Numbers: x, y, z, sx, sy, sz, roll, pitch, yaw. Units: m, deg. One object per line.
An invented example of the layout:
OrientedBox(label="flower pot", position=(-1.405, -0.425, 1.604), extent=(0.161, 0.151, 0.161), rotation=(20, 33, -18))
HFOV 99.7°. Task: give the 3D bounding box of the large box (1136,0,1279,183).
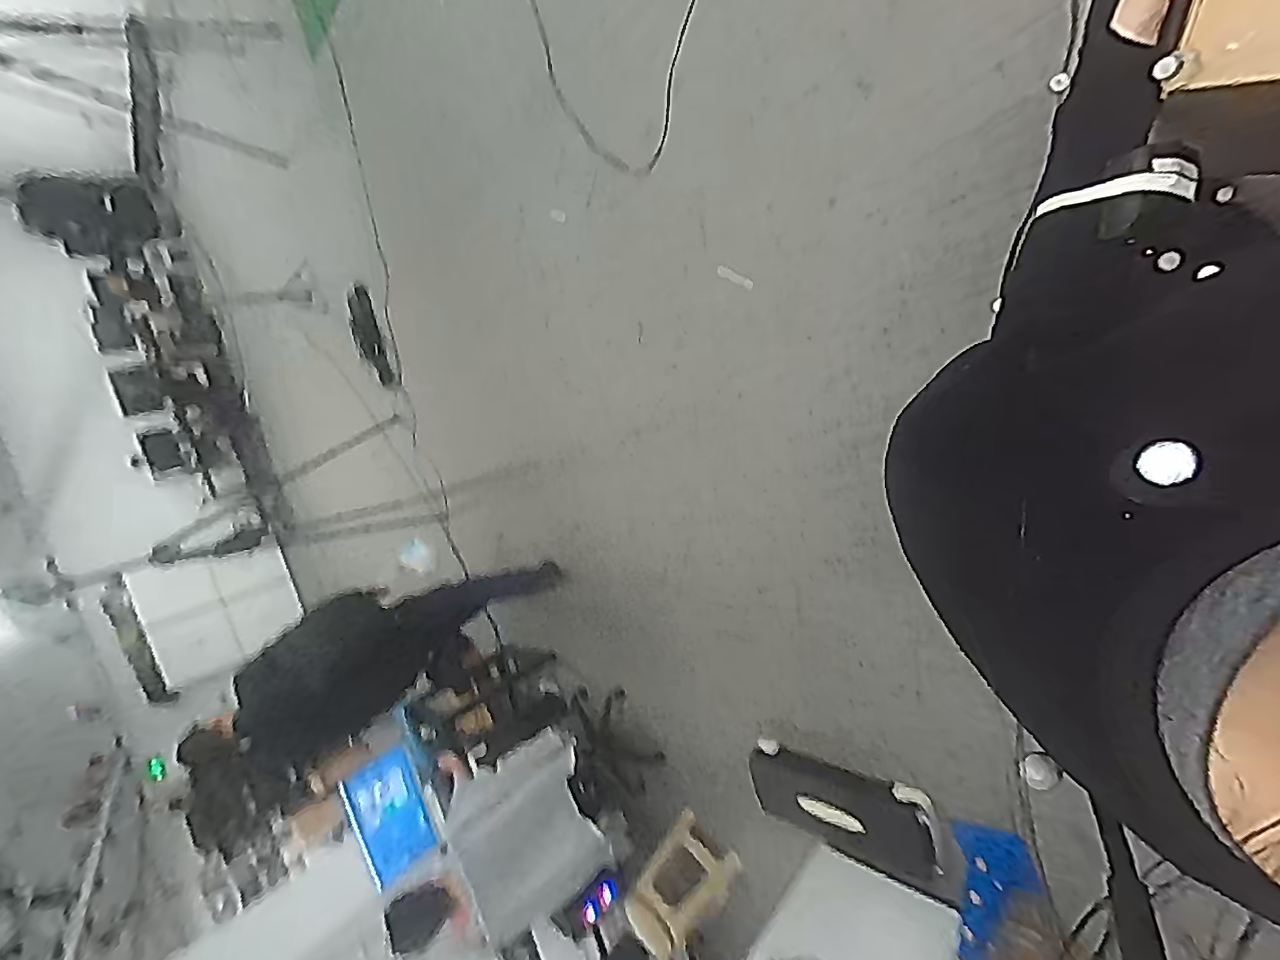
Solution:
OrientedBox(label="large box", position=(0.608, -0.386, 0.318), extent=(0.408, 0.320, 0.320), rotation=(17, 113, 36))
